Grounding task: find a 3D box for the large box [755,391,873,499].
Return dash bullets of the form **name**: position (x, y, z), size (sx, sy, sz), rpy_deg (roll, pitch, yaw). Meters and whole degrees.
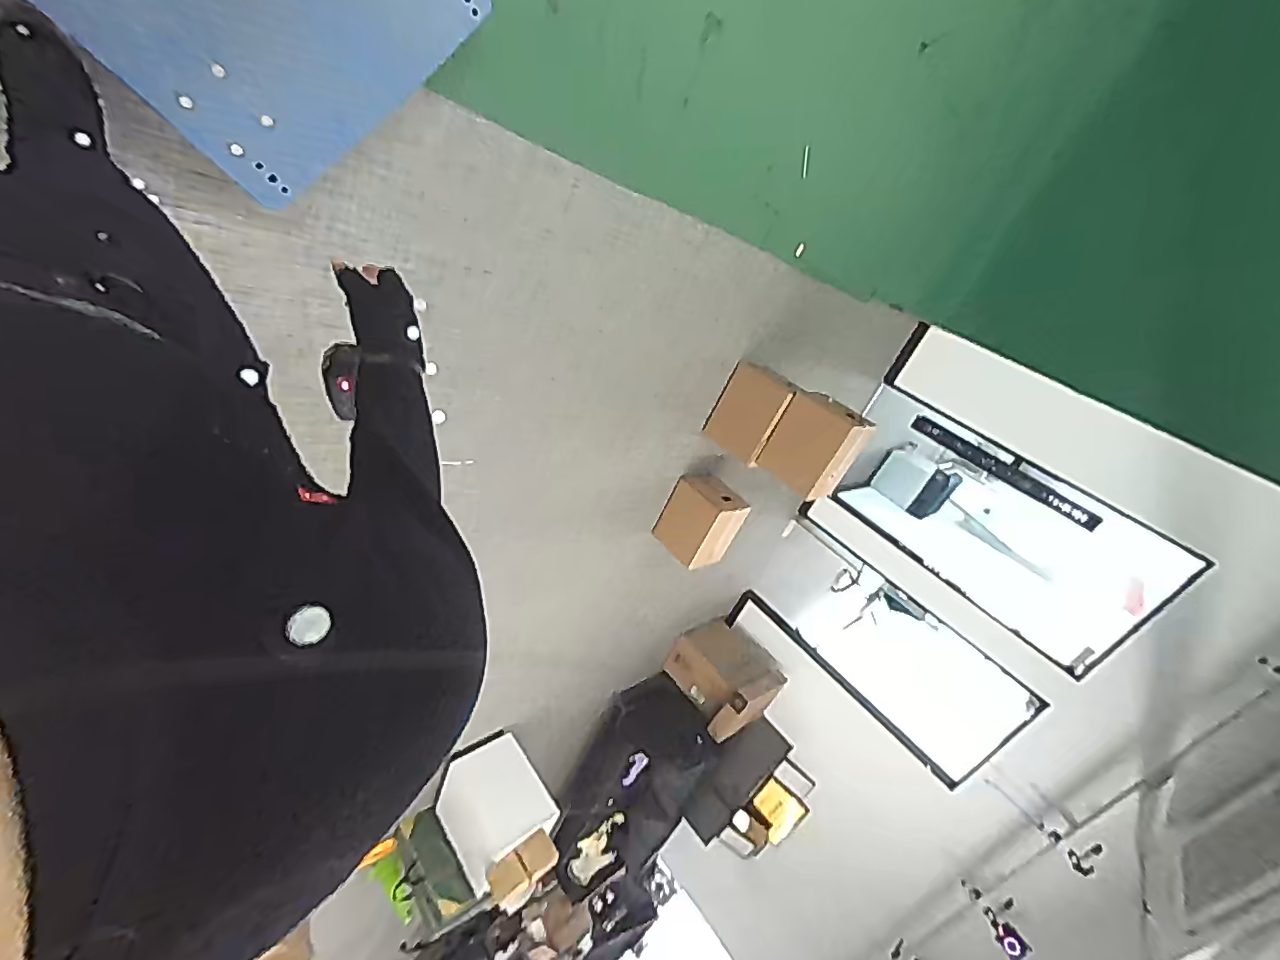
- **large box**: position (0.815, -0.175, 2.553), size (0.320, 0.320, 0.408), rpy_deg (-8, 132, -50)
